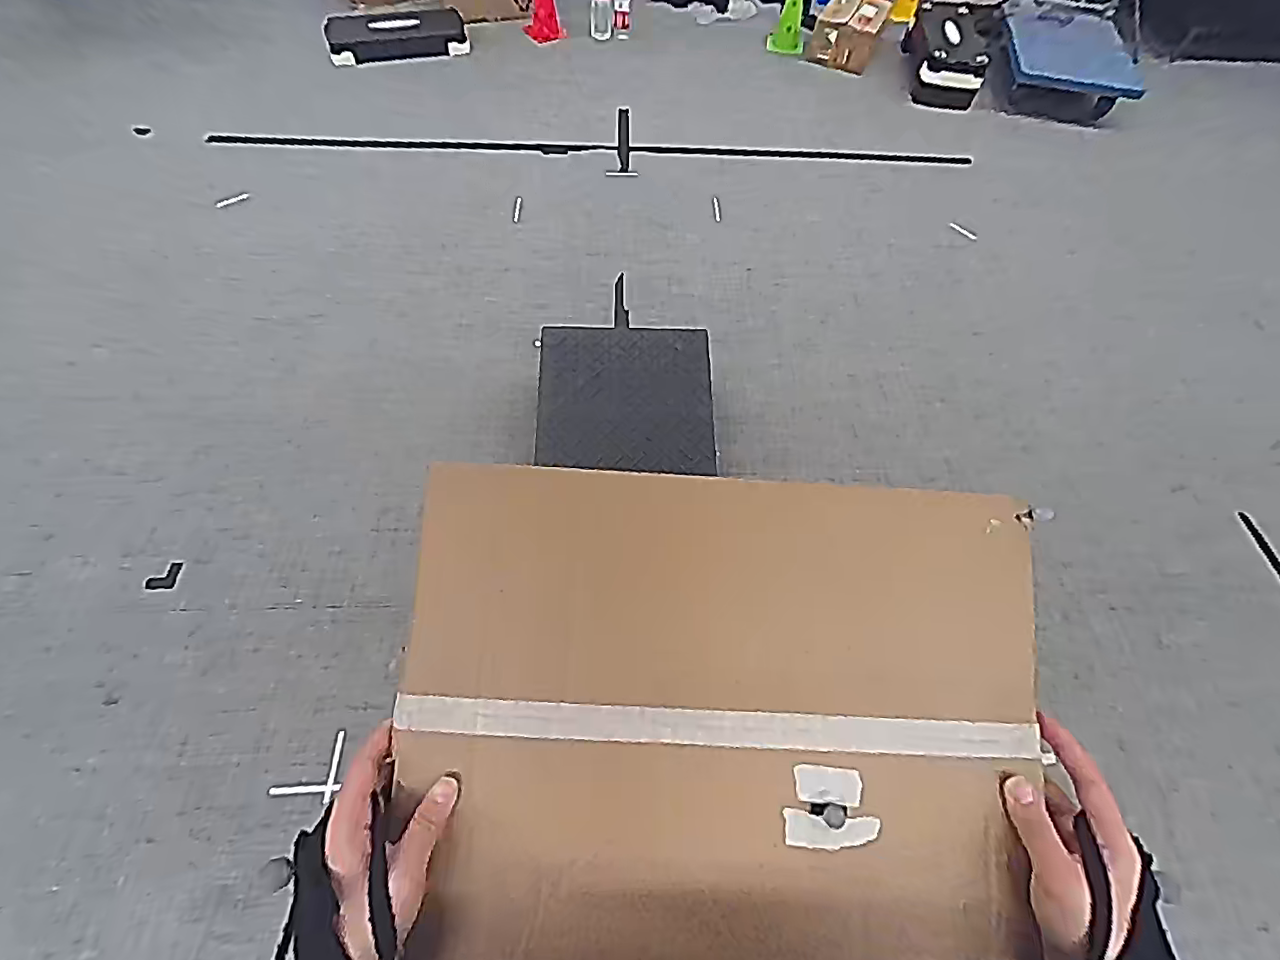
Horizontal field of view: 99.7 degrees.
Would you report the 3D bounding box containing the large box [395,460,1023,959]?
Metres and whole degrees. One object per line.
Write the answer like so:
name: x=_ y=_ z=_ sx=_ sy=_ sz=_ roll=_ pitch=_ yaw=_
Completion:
large box: x=0.045 y=0.166 z=0.503 sx=0.408 sy=0.320 sz=0.320 roll=3 pitch=83 yaw=-2
